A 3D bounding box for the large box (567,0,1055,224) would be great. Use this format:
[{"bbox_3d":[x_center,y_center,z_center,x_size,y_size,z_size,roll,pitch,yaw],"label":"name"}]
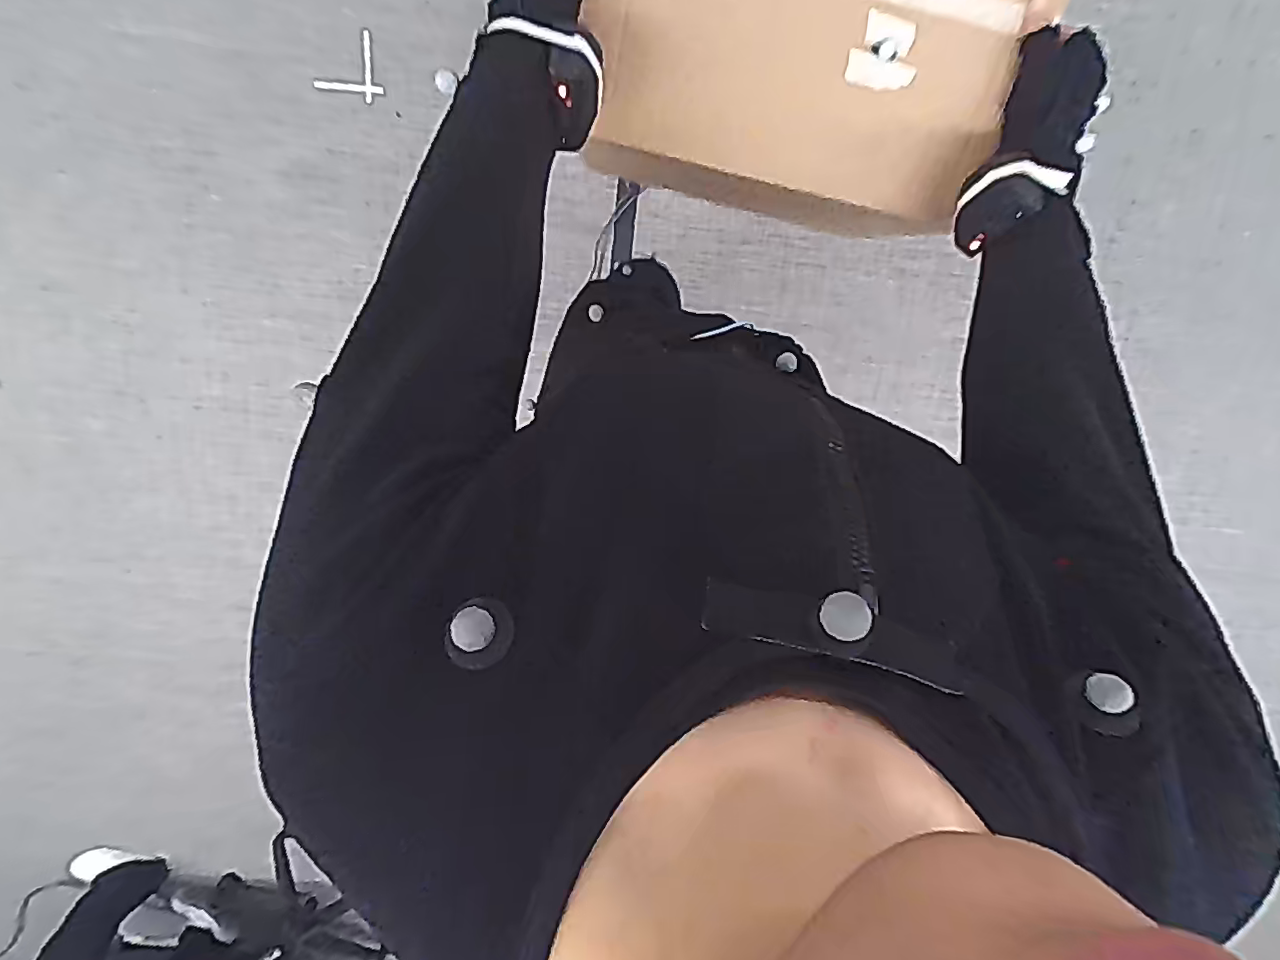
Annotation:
[{"bbox_3d":[0.153,-0.487,0.588,0.408,0.320,0.320,11,115,-5],"label":"large box"}]
